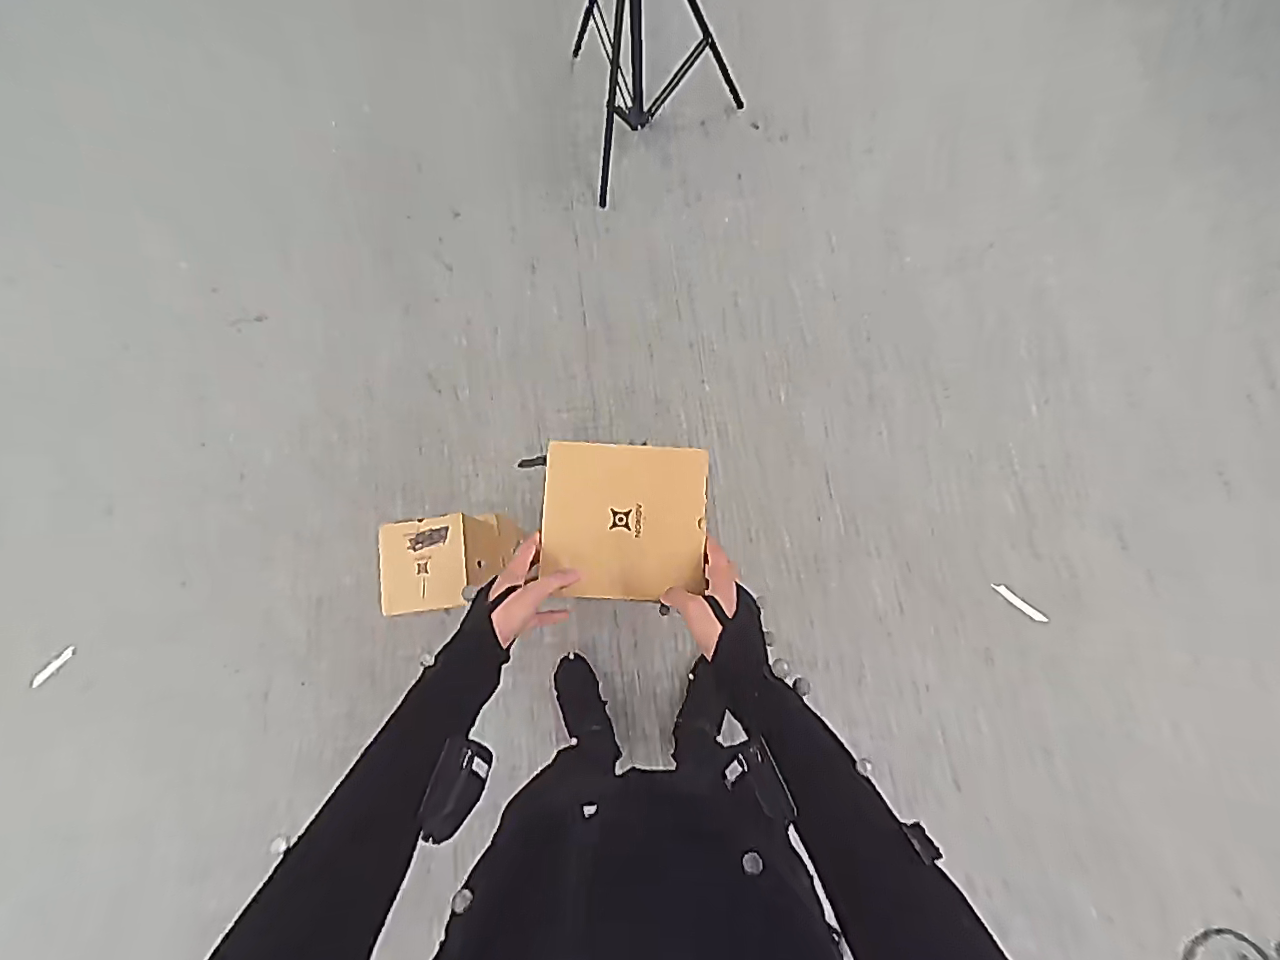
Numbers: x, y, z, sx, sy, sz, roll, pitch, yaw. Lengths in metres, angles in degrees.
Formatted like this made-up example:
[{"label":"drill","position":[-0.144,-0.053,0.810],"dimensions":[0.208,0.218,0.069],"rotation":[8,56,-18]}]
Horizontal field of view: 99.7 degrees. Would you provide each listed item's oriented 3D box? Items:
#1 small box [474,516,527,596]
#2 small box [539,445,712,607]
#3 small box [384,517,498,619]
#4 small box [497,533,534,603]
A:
[{"label":"small box","position":[-0.377,0.190,1.255],"dimensions":[0.179,0.176,0.168],"rotation":[-12,78,0]},{"label":"small box","position":[-0.015,0.062,0.642],"dimensions":[0.179,0.176,0.168],"rotation":[3,79,-2]},{"label":"small box","position":[-0.395,0.180,1.090],"dimensions":[0.168,0.176,0.179],"rotation":[-8,78,2]},{"label":"small box","position":[-0.384,0.229,1.414],"dimensions":[0.168,0.176,0.179],"rotation":[-10,78,0]}]
